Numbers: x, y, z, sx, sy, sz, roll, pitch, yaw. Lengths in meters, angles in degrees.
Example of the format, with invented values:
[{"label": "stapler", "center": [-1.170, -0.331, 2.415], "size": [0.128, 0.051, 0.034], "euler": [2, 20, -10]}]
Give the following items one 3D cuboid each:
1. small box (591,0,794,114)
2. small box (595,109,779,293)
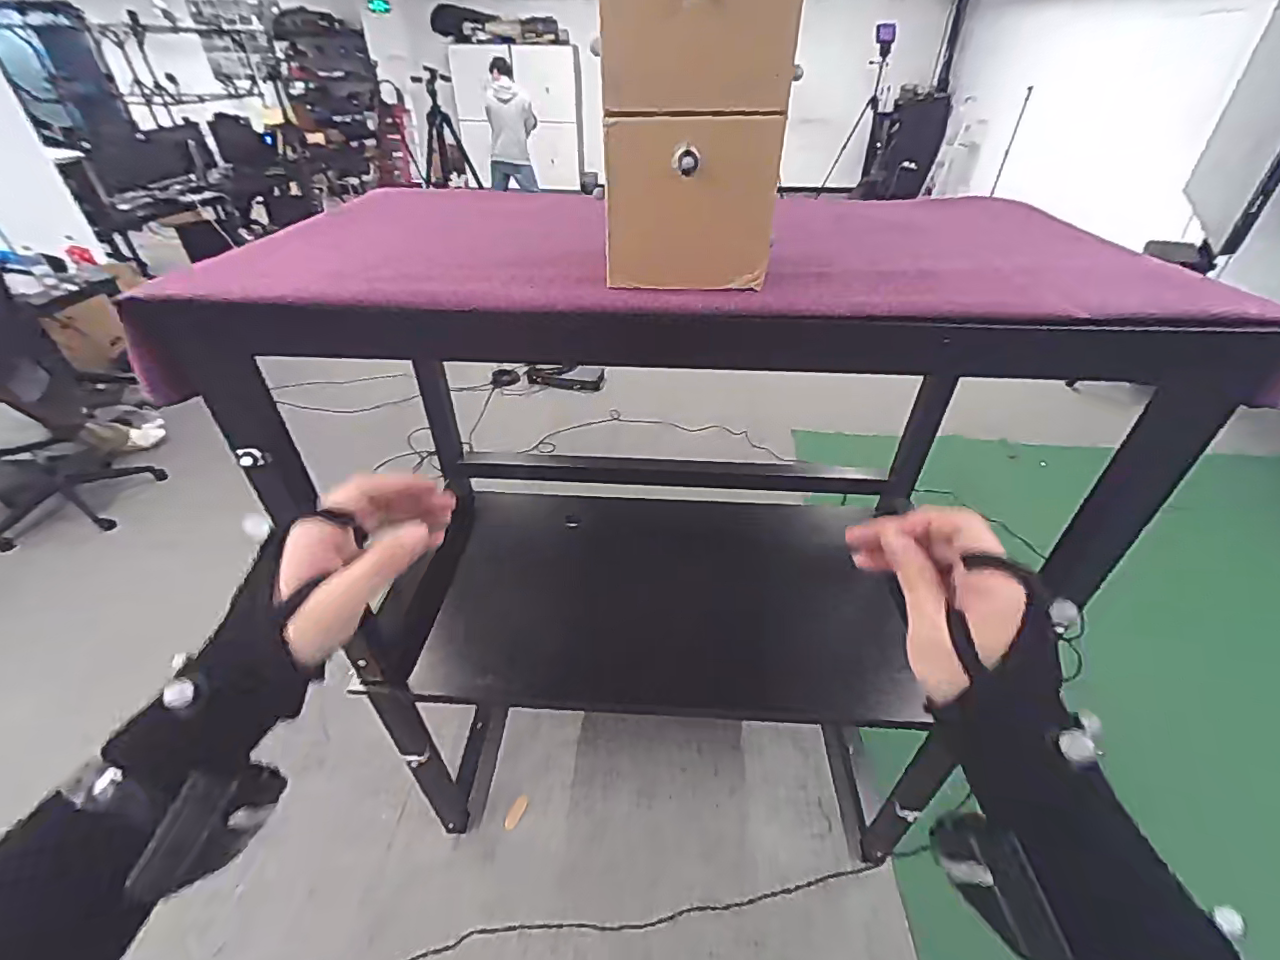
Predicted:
[{"label": "small box", "center": [0.048, -0.451, 0.516], "size": [0.179, 0.176, 0.168], "euler": [0, 37, 2]}, {"label": "small box", "center": [0.048, -0.320, 0.614], "size": [0.179, 0.176, 0.168], "euler": [1, 37, 1]}]
